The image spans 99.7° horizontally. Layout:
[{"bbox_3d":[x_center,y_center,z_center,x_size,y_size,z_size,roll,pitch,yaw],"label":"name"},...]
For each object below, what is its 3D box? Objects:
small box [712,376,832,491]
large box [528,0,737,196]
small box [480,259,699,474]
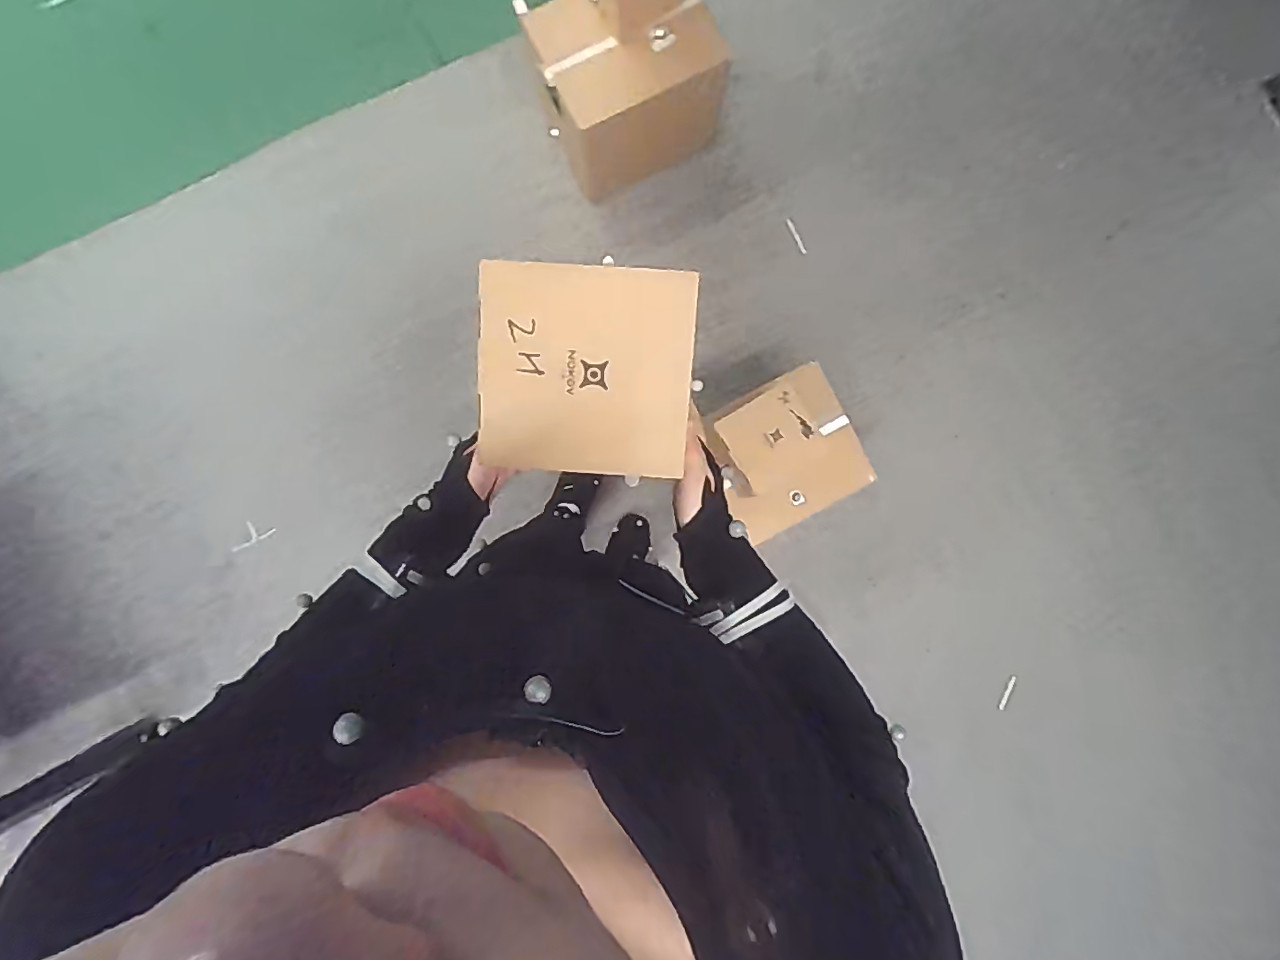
[{"bbox_3d":[0.262,-0.086,1.128,0.179,0.176,0.168,-30,87,0],"label":"small box"},{"bbox_3d":[-0.020,-1.028,1.395,0.408,0.320,0.320,-27,88,-2],"label":"large box"},{"bbox_3d":[-0.042,-0.106,0.520,0.179,0.176,0.168,4,101,2],"label":"small box"}]
